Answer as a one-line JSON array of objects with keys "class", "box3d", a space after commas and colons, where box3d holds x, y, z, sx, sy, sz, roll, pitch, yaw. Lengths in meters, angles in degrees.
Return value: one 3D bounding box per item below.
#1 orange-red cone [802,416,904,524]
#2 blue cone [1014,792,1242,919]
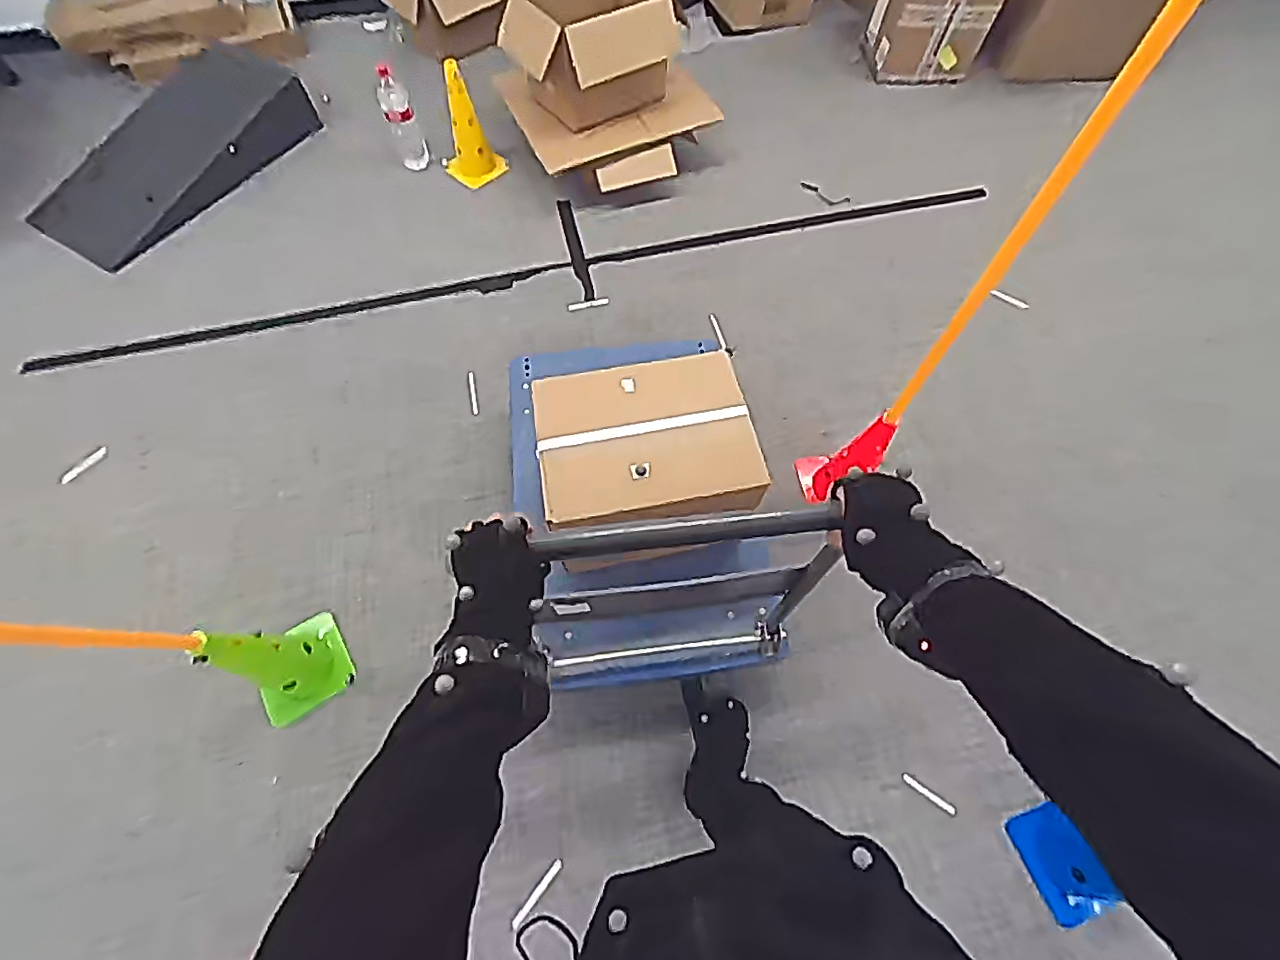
[{"class": "orange-red cone", "box3d": [0.565, -0.051, 1.351, 0.199, 0.360, 0.198, -6, 64, -5]}, {"class": "blue cone", "box3d": [0.910, 0.712, 0.990, 0.193, 0.380, 0.192, -16, 64, -9]}]
